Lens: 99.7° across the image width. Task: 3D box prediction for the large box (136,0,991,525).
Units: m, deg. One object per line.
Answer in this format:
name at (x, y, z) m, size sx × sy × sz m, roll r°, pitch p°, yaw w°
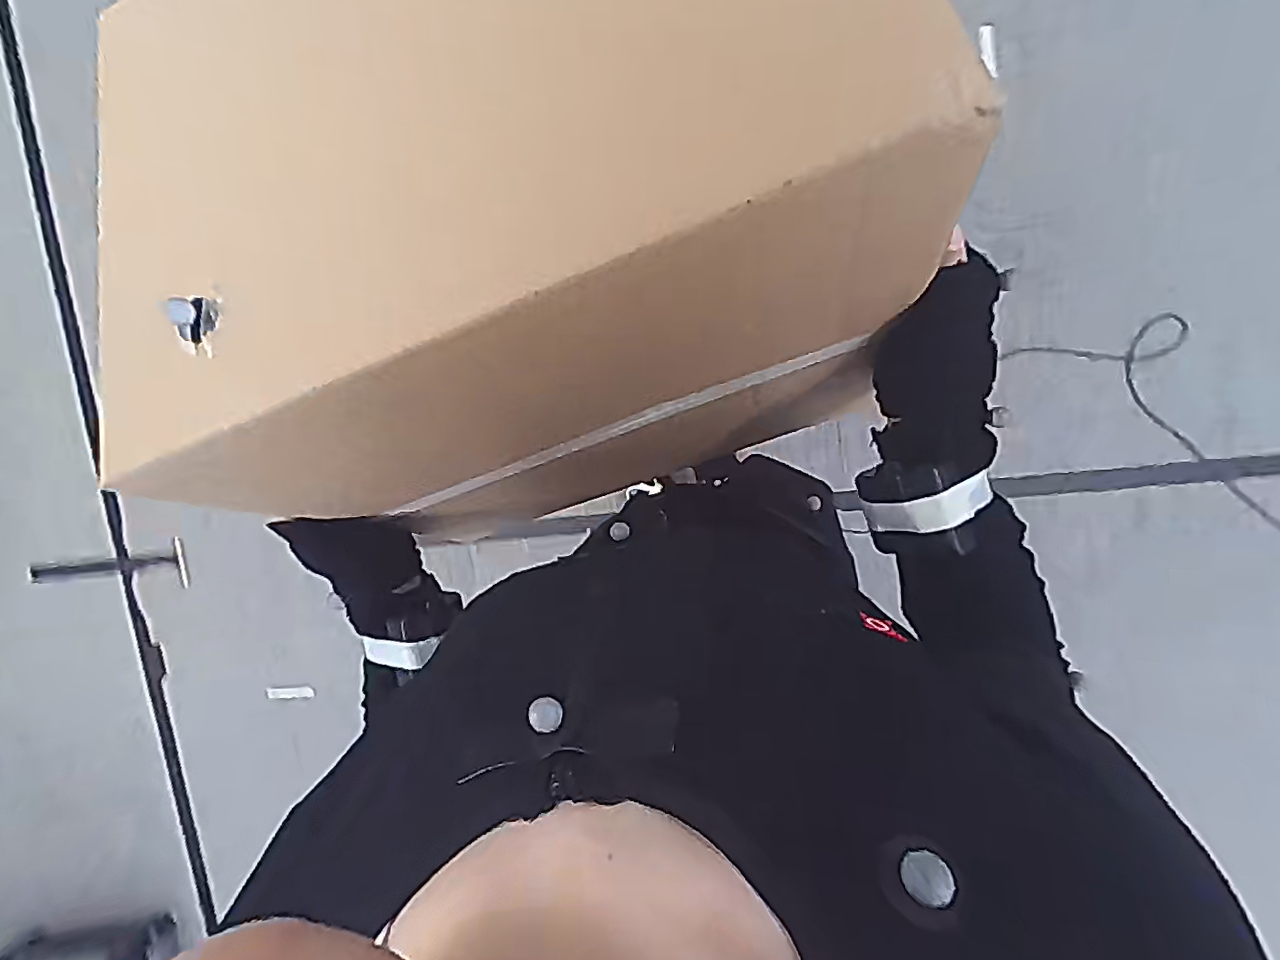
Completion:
large box at (-0.061, -0.183, 0.403) m, size 0.408 × 0.320 × 0.320 m, roll -17°, pitch 76°, yaw 11°
